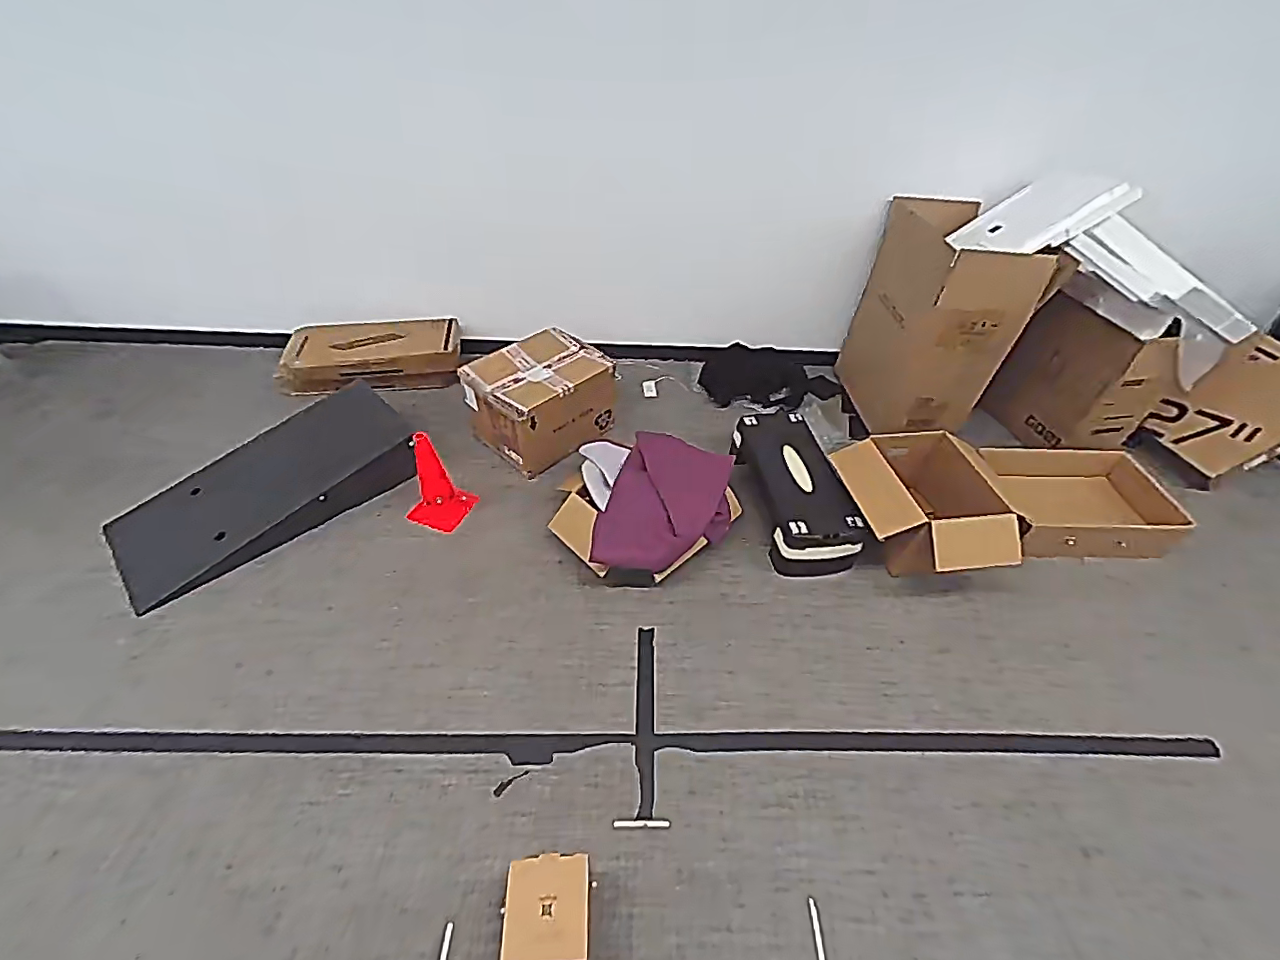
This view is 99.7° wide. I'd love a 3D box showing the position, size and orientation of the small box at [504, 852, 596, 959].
[{"bbox_3d":[-0.179,0.900,1.123,0.168,0.176,0.179,-2,46,-3],"label":"small box"}]
